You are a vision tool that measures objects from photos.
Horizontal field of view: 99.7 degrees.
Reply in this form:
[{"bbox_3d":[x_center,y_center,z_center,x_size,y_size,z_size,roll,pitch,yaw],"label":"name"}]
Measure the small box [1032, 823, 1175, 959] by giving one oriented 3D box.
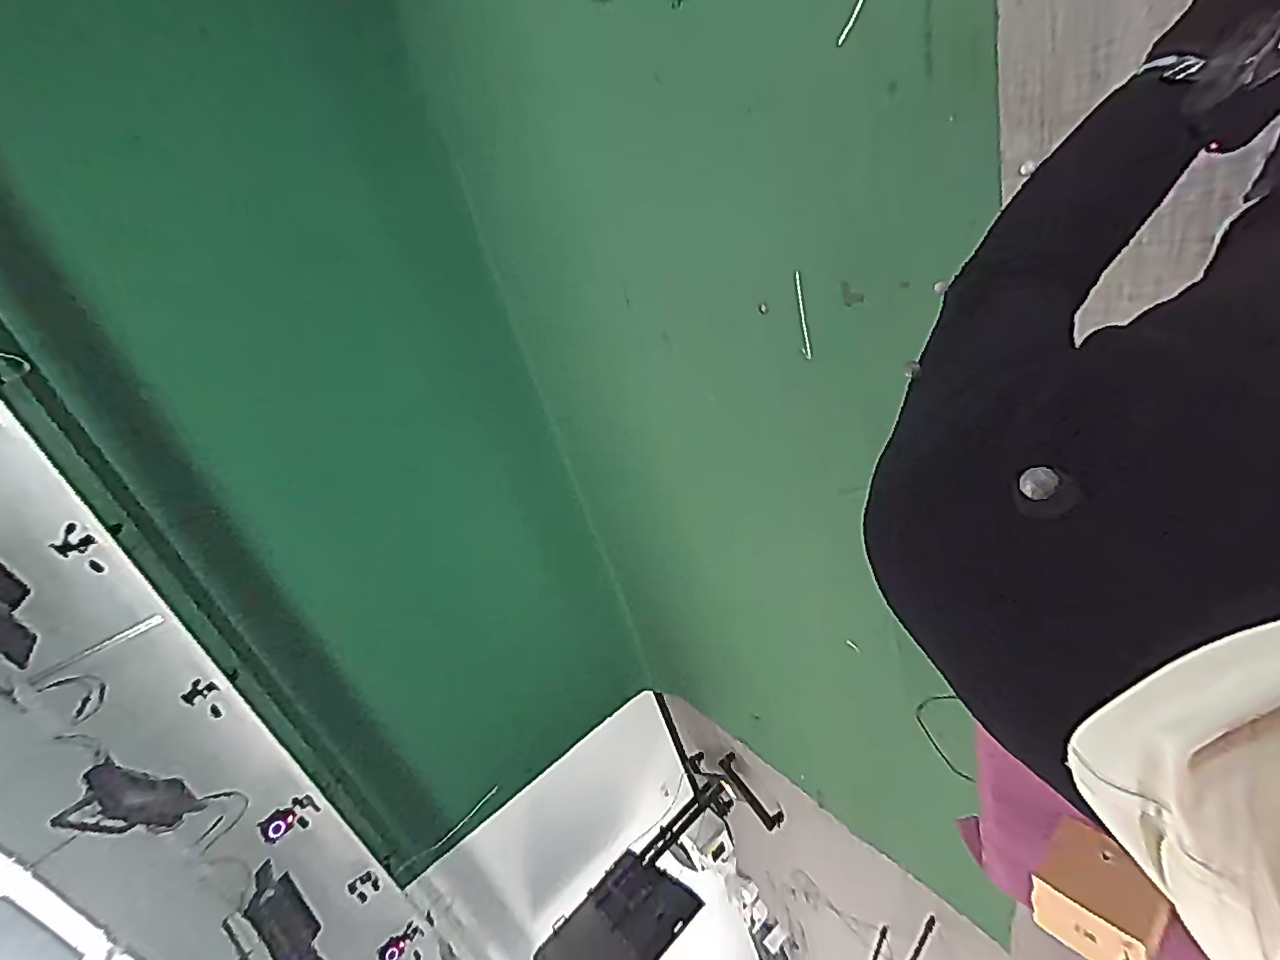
[{"bbox_3d":[0.917,0.832,1.078,0.179,0.176,0.168,15,130,53],"label":"small box"}]
